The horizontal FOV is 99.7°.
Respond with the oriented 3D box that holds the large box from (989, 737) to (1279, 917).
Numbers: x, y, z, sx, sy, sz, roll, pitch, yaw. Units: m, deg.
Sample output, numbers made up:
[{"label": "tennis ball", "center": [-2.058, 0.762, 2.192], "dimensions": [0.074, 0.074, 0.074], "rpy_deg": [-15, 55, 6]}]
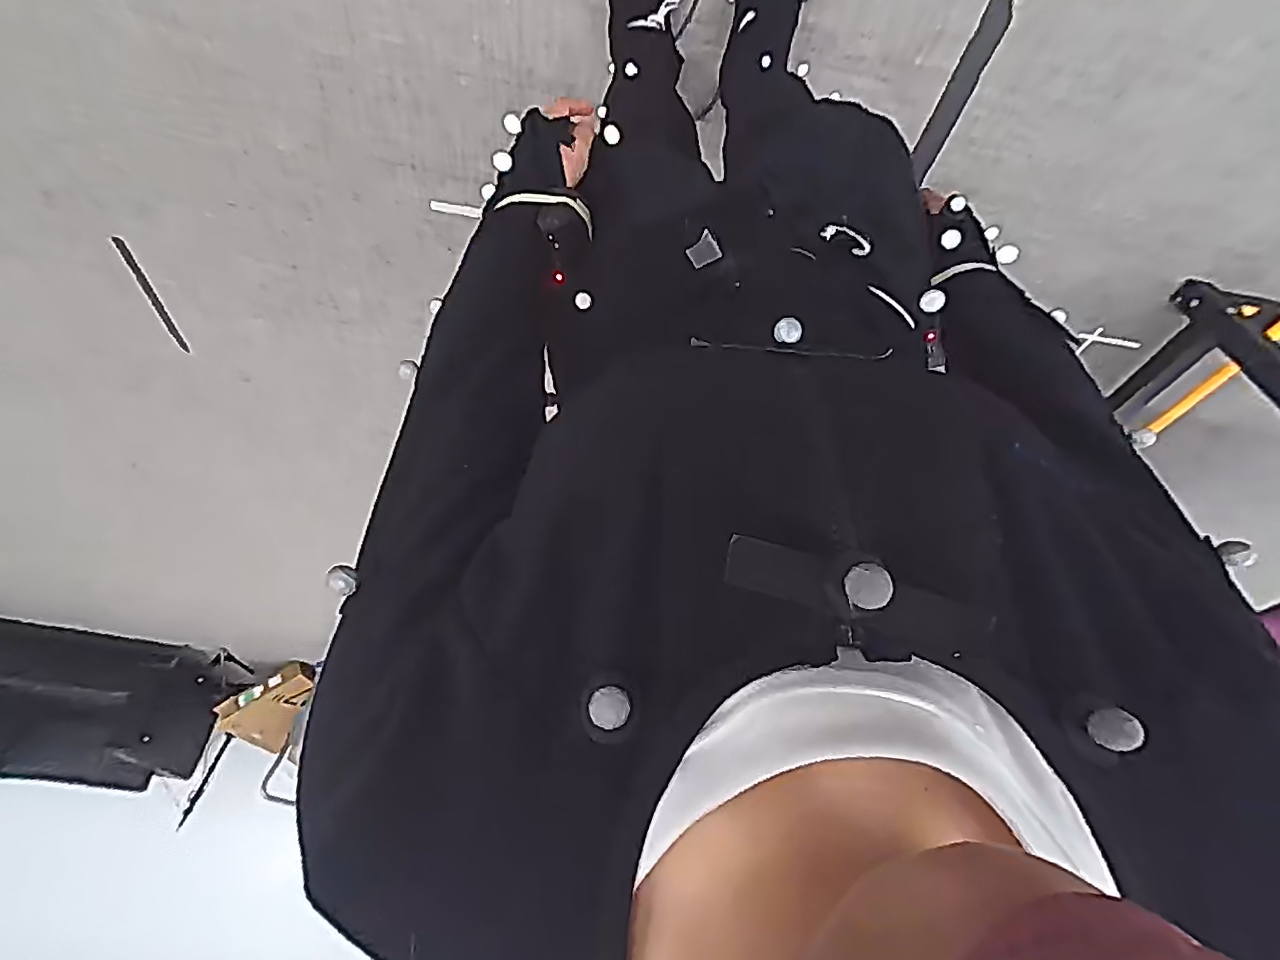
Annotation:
[{"label": "large box", "center": [1.189, 0.859, 1.340], "dimensions": [0.408, 0.320, 0.320], "rpy_deg": [9, 140, -3]}]
